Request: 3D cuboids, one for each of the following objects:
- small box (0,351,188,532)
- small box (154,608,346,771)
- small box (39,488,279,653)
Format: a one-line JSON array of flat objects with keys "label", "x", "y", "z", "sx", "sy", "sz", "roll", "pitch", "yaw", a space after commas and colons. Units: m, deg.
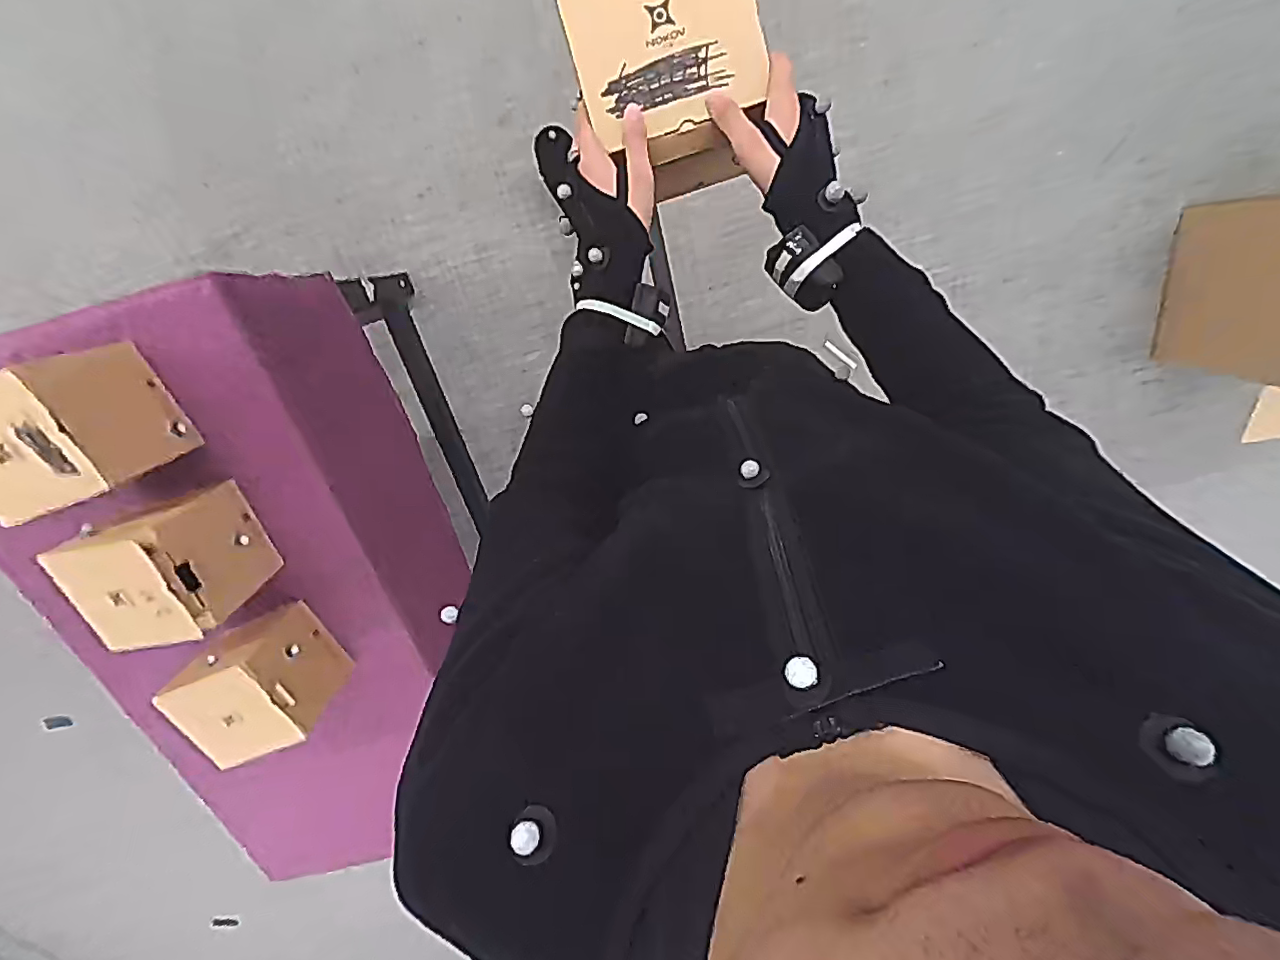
[{"label": "small box", "x": -0.776, "y": -0.061, "z": 0.735, "sx": 0.179, "sy": 0.176, "sz": 0.168, "roll": -18, "pitch": 113, "yaw": 8}, {"label": "small box", "x": -0.637, "y": 0.346, "z": 0.918, "sx": 0.179, "sy": 0.176, "sz": 0.168, "roll": -22, "pitch": 112, "yaw": 9}, {"label": "small box", "x": -0.707, "y": 0.130, "z": 0.820, "sx": 0.179, "sy": 0.176, "sz": 0.168, "roll": -13, "pitch": 113, "yaw": 4}]
